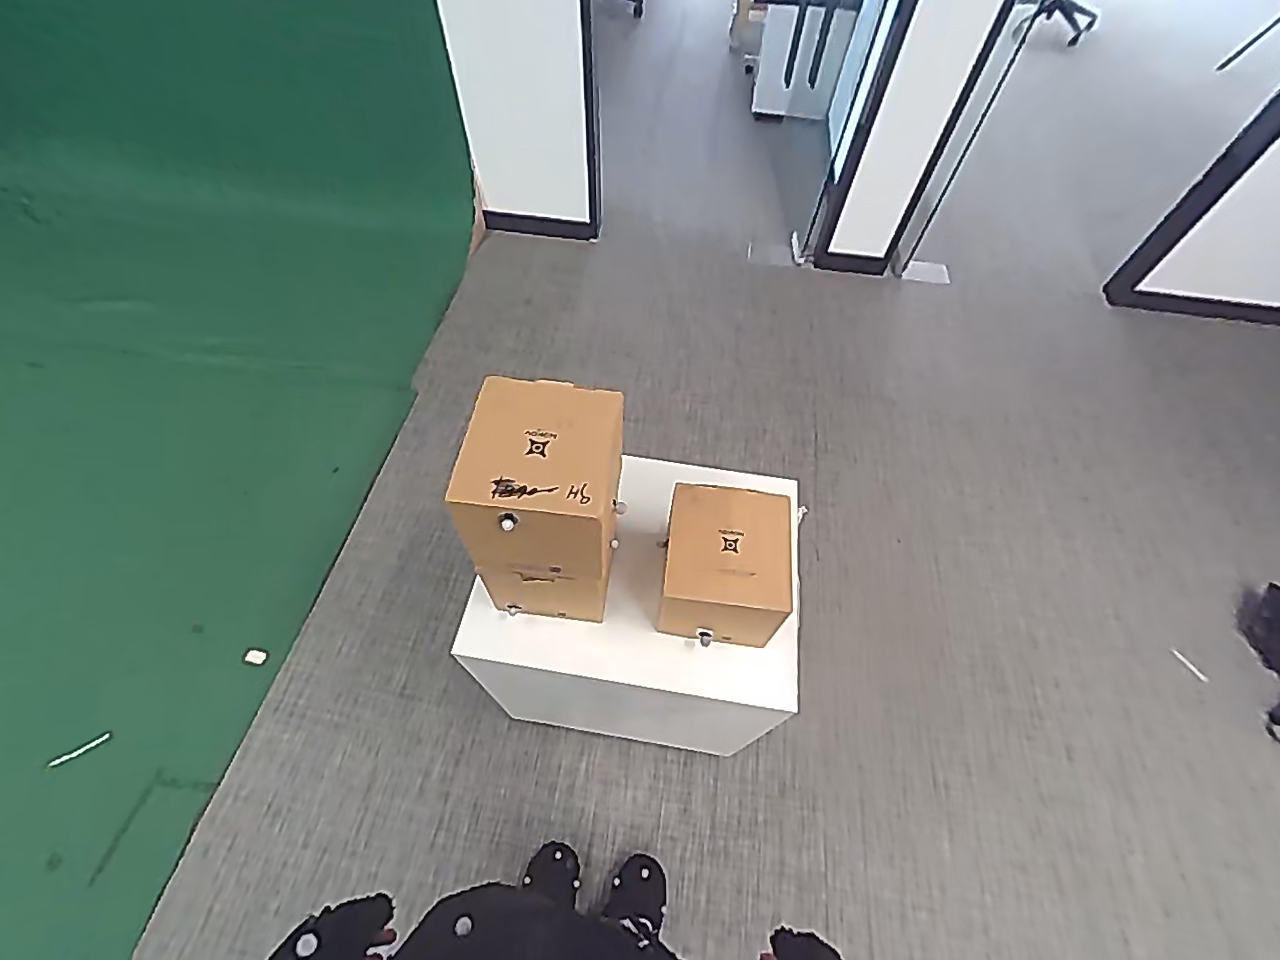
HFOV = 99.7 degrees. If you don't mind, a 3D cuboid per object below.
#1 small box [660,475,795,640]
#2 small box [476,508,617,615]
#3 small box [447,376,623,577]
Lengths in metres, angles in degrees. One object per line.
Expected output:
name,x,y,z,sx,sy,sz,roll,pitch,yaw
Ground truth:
small box,0.119,0.115,0.780,0.168,0.176,0.179,5,59,3
small box,-0.125,0.087,0.805,0.168,0.176,0.179,6,56,2
small box,-0.115,0.000,0.669,0.168,0.176,0.179,6,57,2
